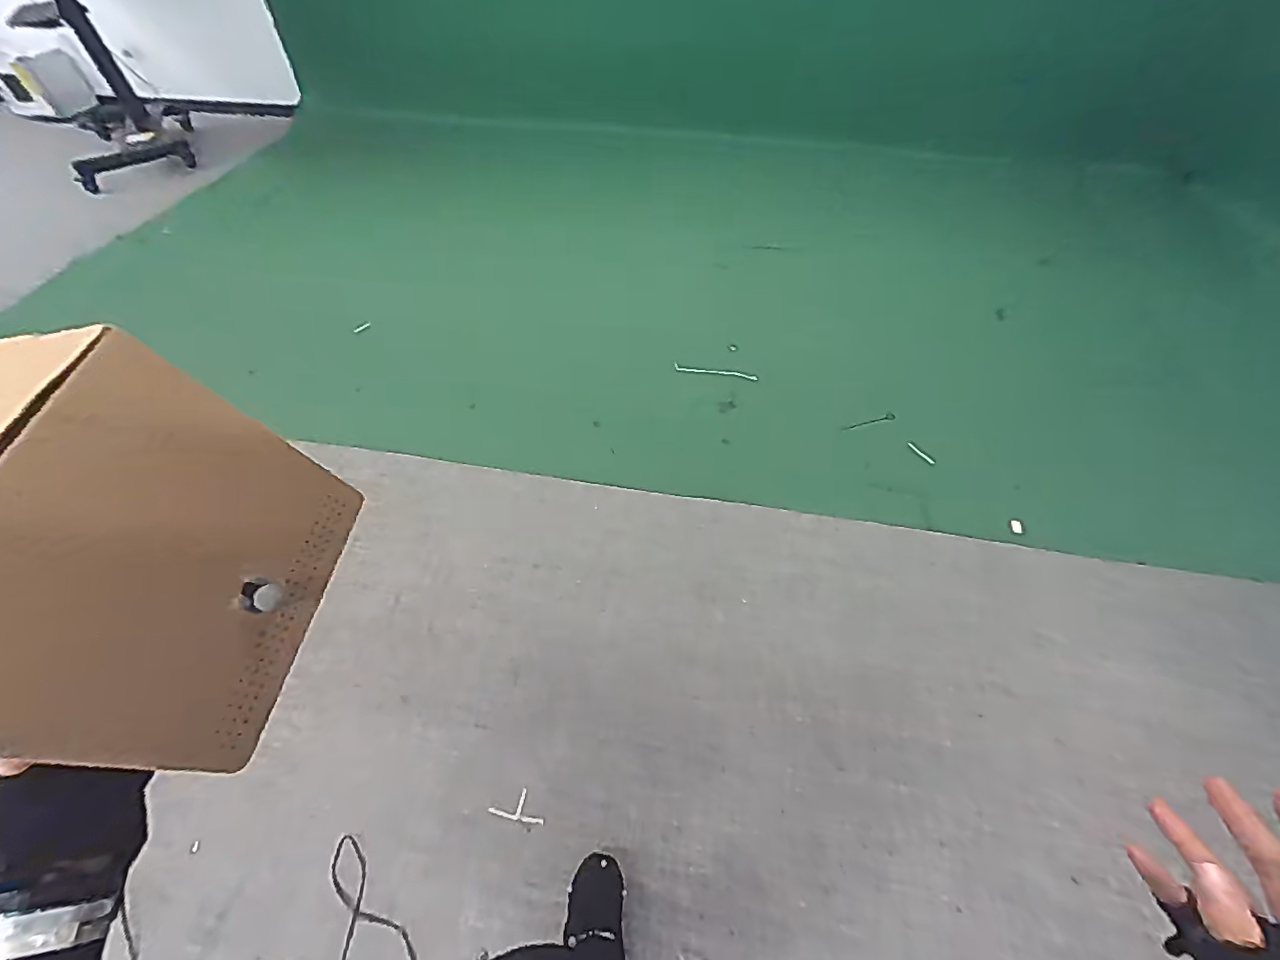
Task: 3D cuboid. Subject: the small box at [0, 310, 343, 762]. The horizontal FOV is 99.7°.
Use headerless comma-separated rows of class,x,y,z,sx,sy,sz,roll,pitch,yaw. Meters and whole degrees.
small box,-0.302,0.039,0.292,0.168,0.176,0.179,-2,60,18
